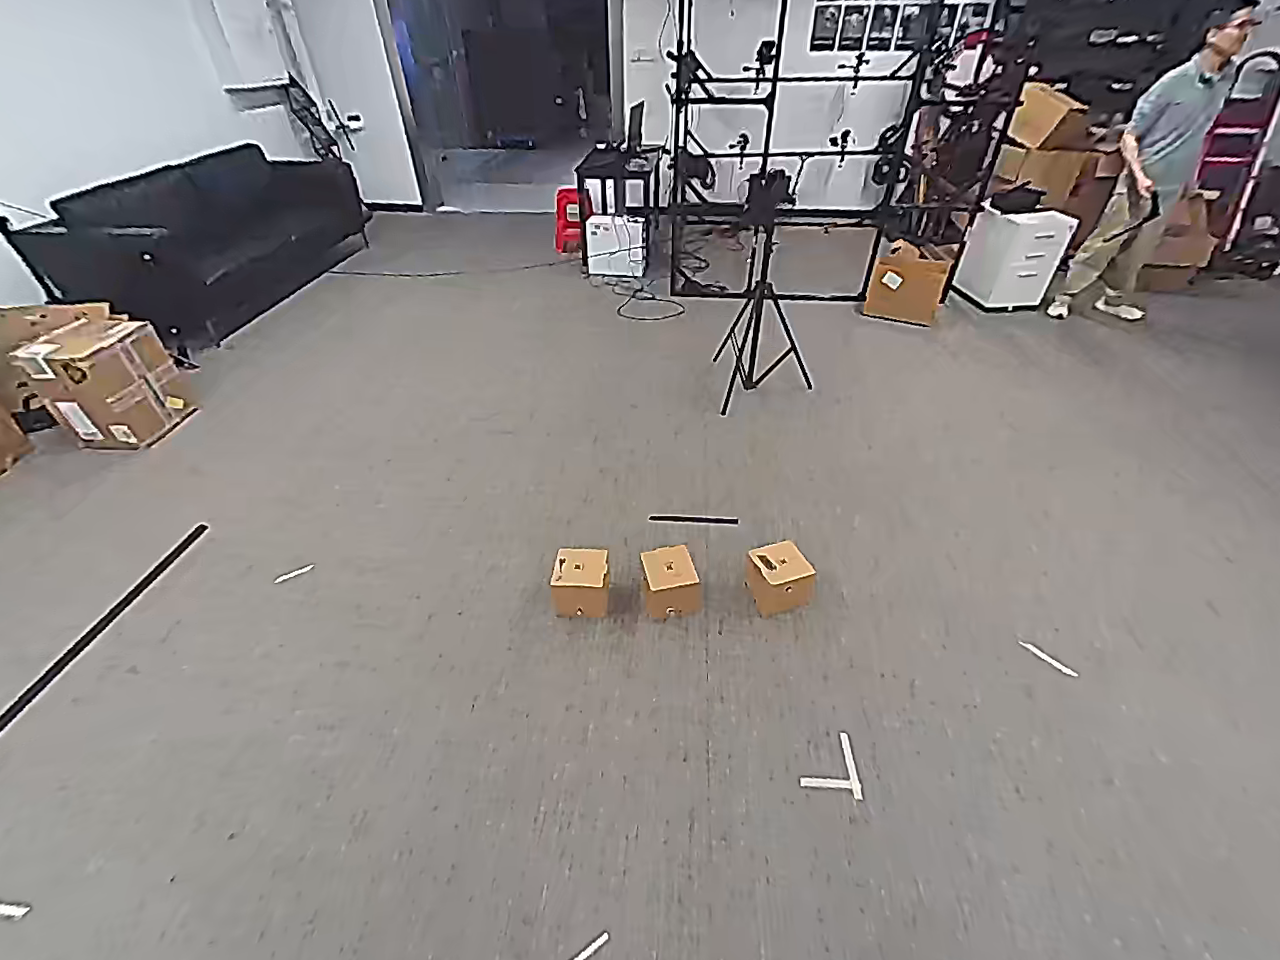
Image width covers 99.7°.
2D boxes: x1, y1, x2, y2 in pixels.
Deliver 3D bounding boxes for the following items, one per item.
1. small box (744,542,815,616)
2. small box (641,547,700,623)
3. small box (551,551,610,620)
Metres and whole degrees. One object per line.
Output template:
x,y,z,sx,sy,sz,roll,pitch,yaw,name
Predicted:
0.473,0.345,1.869,0.179,0.176,0.168,-12,41,-16,small box
0.100,0.360,1.859,0.168,0.176,0.179,-10,40,-9,small box
-0.197,0.365,1.859,0.179,0.176,0.168,2,39,4,small box
